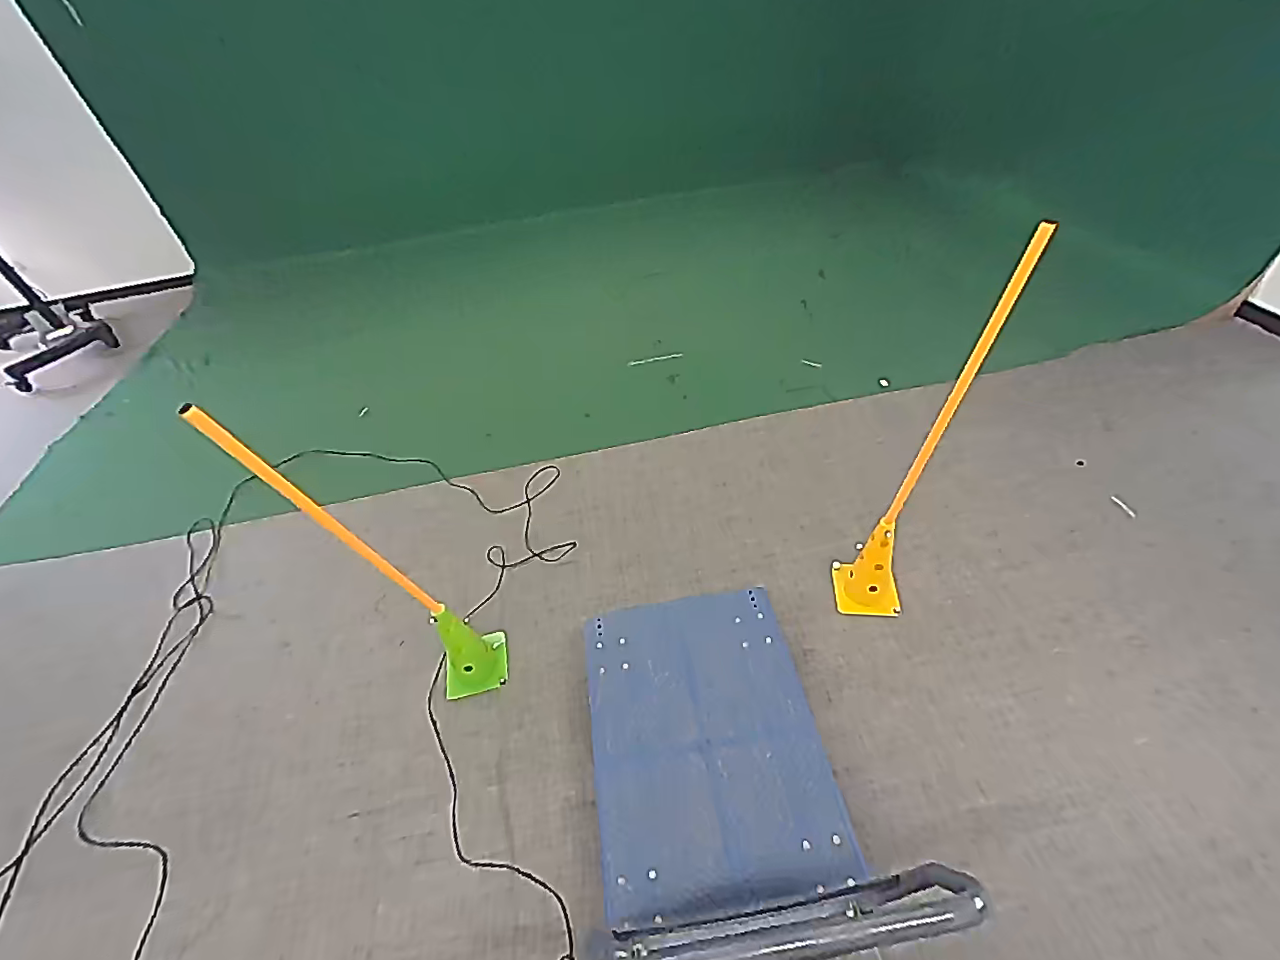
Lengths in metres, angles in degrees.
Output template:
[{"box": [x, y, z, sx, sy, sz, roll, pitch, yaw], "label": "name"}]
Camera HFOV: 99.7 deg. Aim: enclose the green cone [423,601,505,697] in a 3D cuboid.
[{"box": [-0.569, 0.479, 1.664, 0.202, 0.368, 0.200, -15, 45, -4], "label": "green cone"}]
